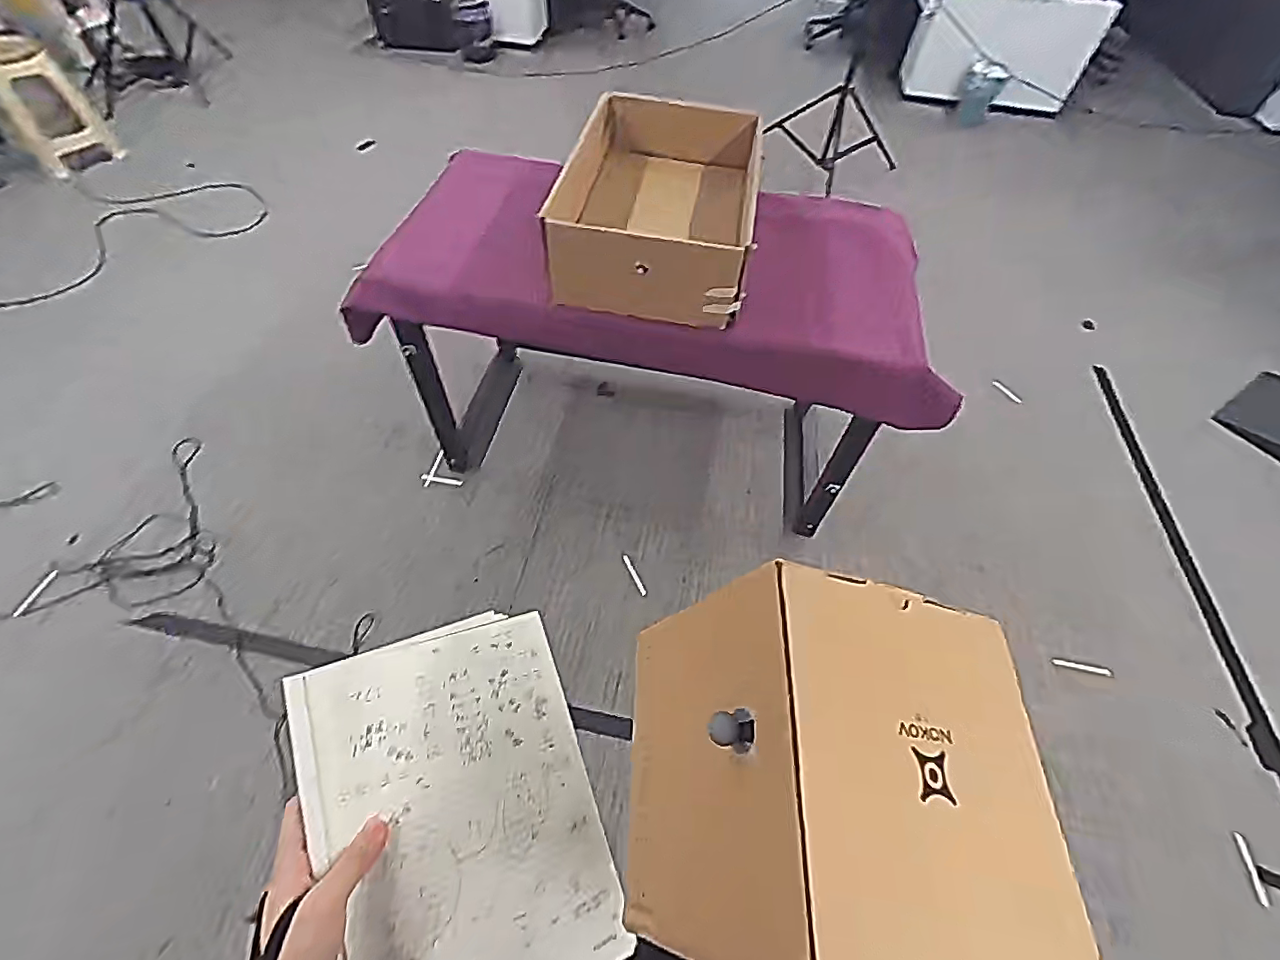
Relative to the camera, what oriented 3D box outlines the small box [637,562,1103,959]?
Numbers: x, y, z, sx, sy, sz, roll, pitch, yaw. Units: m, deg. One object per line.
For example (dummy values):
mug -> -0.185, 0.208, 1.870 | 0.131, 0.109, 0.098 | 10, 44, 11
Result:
small box -> 0.106, 0.174, 0.320 | 0.168, 0.176, 0.179 | 17, 55, -19
